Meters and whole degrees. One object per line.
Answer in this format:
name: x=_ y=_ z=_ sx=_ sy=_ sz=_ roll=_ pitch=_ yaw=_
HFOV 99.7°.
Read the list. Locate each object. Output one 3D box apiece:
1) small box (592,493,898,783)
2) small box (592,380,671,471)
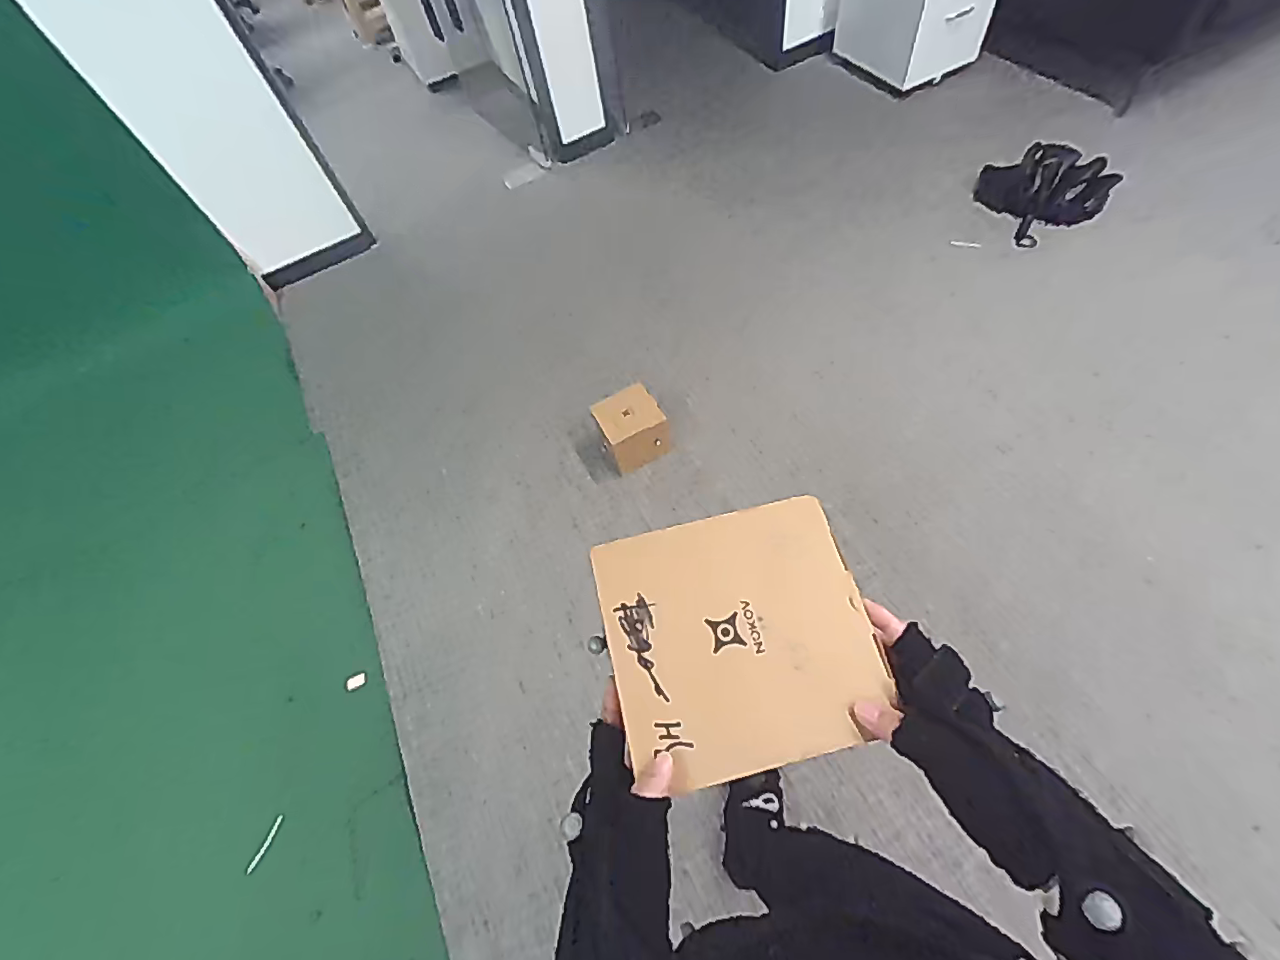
small box: x=0.065 y=0.131 z=0.439 sx=0.179 sy=0.176 sz=0.168 roll=-12 pitch=63 yaw=-4
small box: x=-0.019 y=-0.158 z=1.613 sx=0.179 sy=0.176 sz=0.168 roll=-28 pitch=59 yaw=-6
